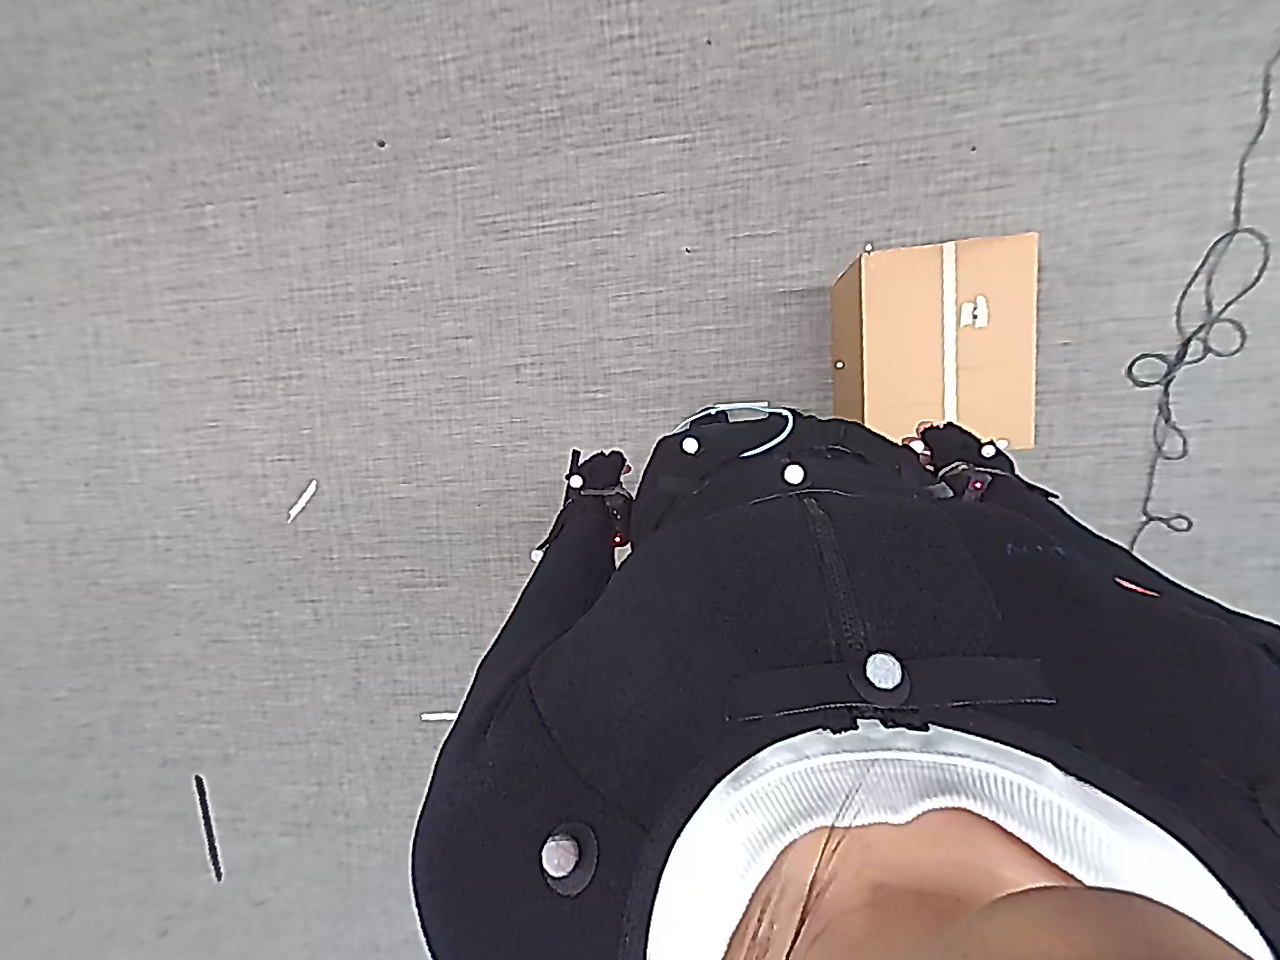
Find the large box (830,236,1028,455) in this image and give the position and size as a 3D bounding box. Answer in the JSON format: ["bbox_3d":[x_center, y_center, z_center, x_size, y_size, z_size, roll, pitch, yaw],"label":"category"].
[{"bbox_3d":[0.619,-0.275,1.213,0.320,0.320,0.408,-3,96,8],"label":"large box"}]
